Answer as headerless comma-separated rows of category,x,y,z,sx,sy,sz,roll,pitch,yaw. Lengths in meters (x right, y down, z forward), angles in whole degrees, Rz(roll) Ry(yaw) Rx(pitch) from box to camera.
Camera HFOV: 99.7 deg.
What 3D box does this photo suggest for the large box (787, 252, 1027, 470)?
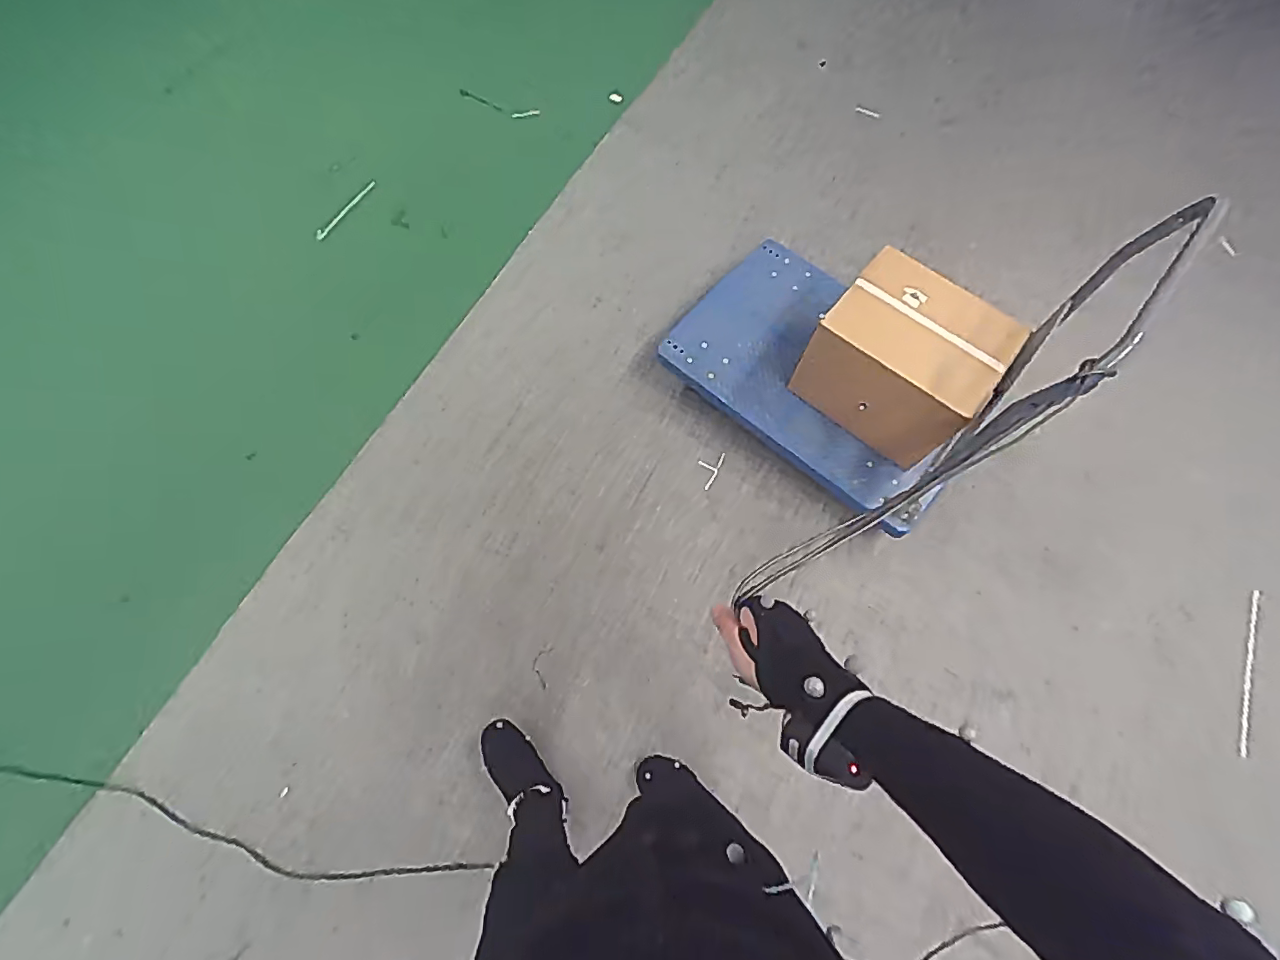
large box,0.664,-0.297,1.408,0.408,0.320,0.320,38,73,14
